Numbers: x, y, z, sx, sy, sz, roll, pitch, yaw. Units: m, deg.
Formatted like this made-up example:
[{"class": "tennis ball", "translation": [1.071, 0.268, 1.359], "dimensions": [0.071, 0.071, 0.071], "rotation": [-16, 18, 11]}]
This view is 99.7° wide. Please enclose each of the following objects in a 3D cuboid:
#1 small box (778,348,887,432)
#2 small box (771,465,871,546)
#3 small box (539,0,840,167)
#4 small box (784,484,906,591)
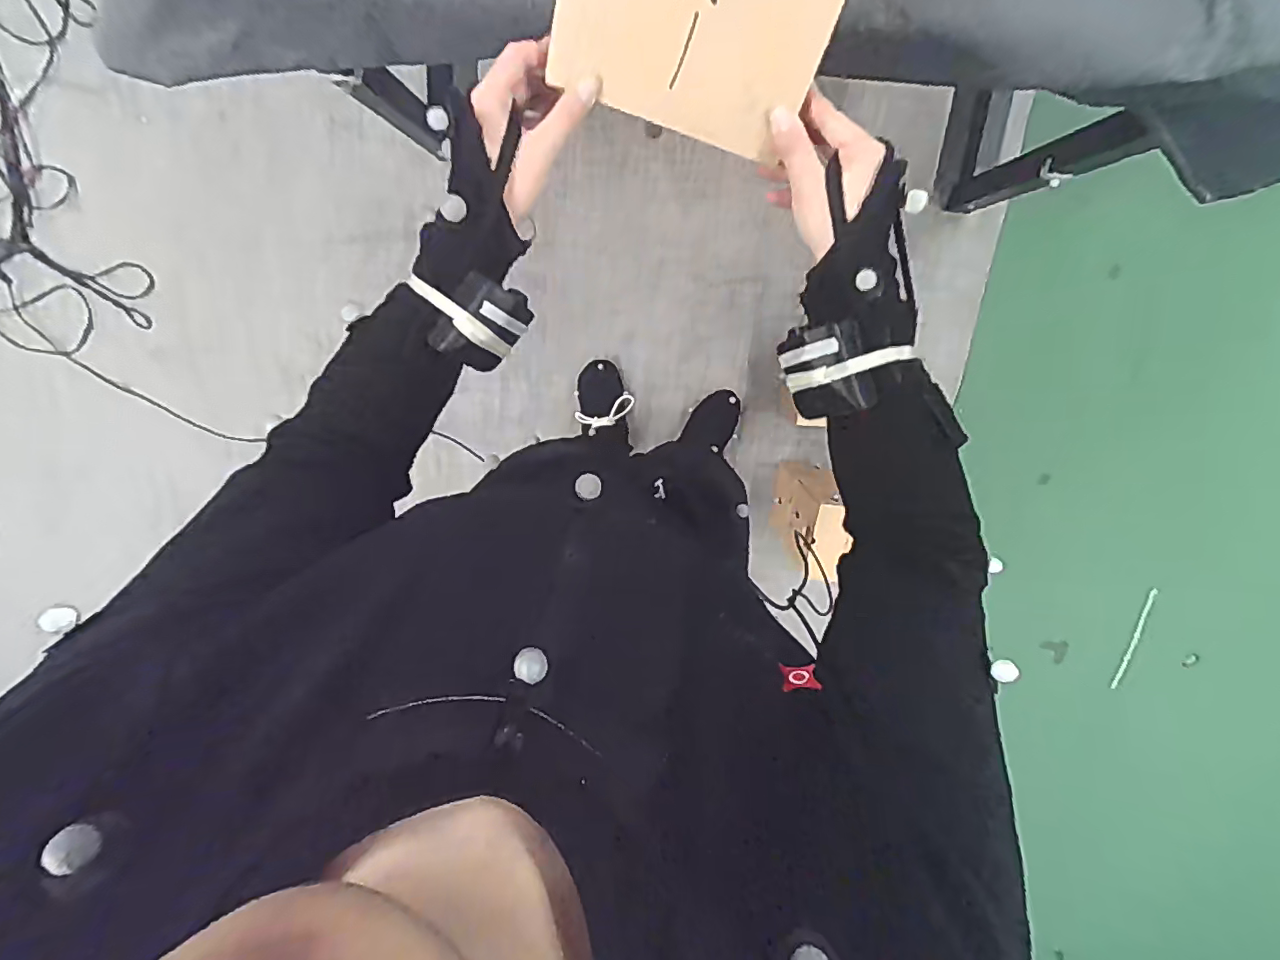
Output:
[{"class": "small box", "translation": [0.427, -0.209, 1.226], "dimensions": [0.179, 0.176, 0.168], "rotation": [3, 106, 1]}, {"class": "small box", "translation": [0.426, 0.067, 1.306], "dimensions": [0.179, 0.176, 0.168], "rotation": [7, 107, 1]}, {"class": "small box", "translation": [0.040, -0.345, 0.369], "dimensions": [0.168, 0.176, 0.179], "rotation": [15, 126, -8]}, {"class": "small box", "translation": [0.425, 0.116, 1.151], "dimensions": [0.179, 0.176, 0.168], "rotation": [8, 107, -1]}]
